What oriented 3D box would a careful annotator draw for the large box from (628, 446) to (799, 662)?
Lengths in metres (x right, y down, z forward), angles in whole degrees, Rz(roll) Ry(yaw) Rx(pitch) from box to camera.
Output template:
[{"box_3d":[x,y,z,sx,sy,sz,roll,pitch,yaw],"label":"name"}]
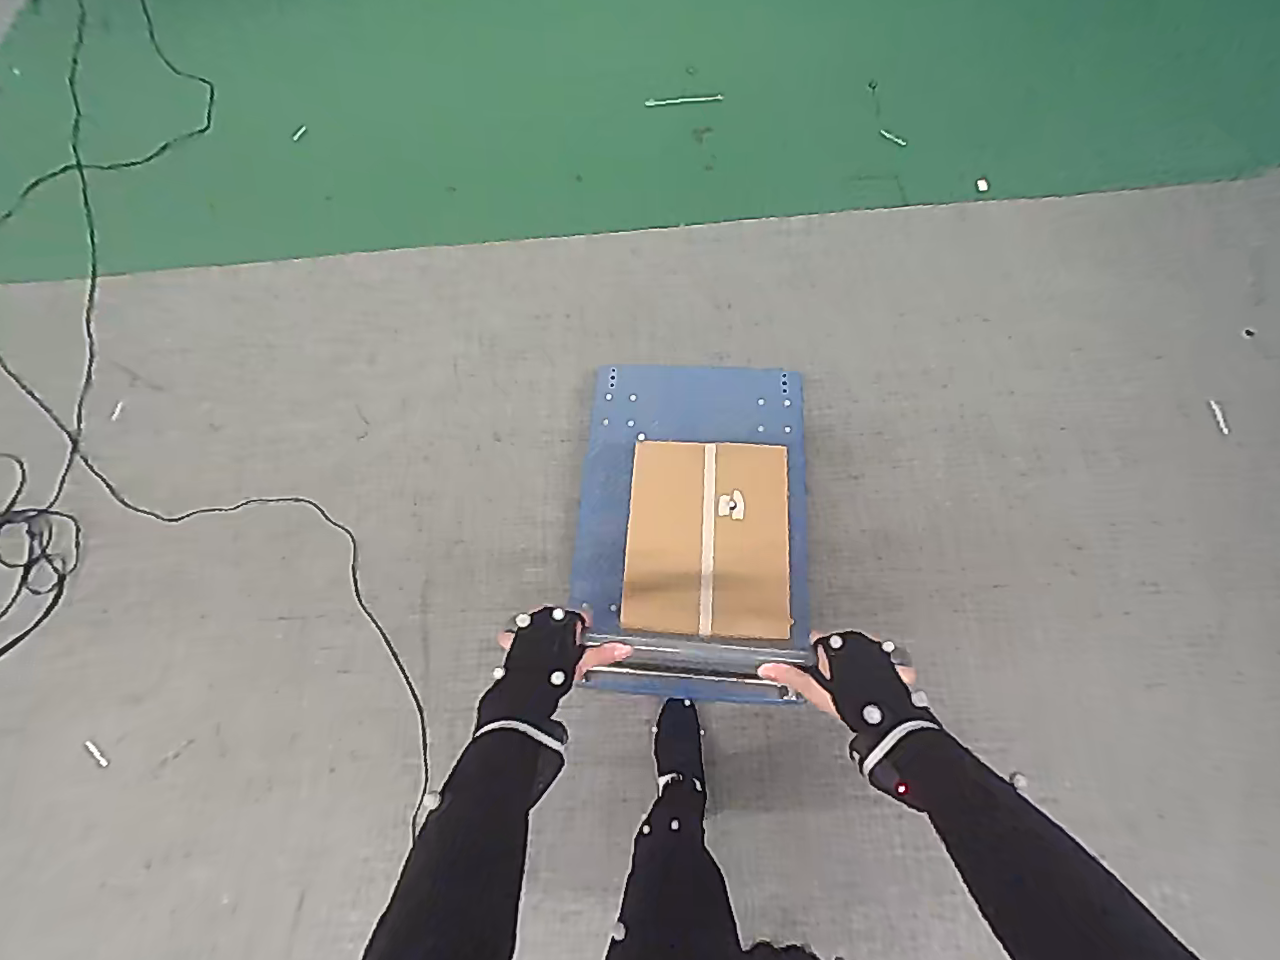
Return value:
[{"box_3d":[0.153,0.173,1.183,0.320,0.320,0.408,3,68,4],"label":"large box"}]
